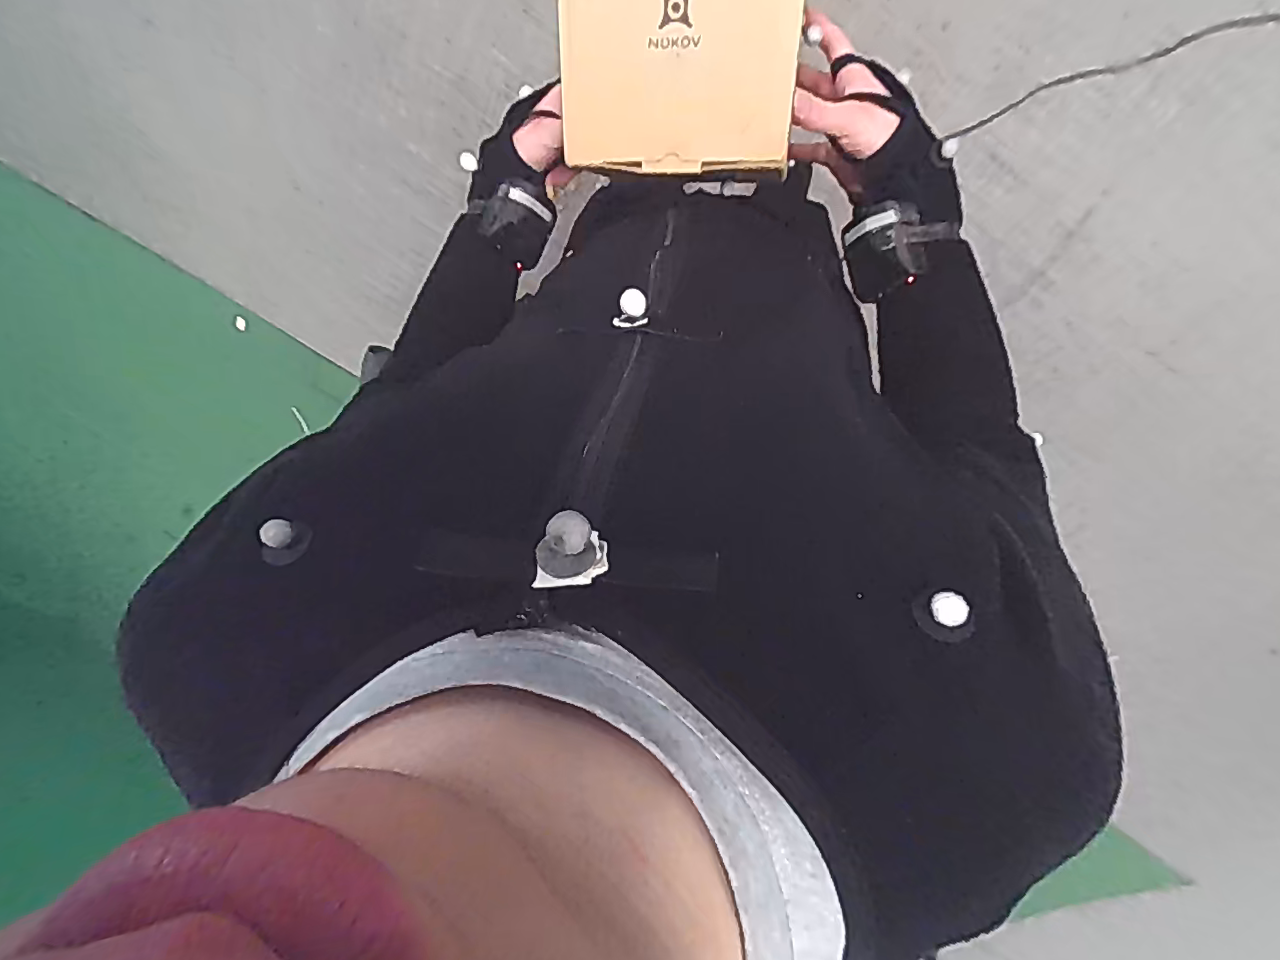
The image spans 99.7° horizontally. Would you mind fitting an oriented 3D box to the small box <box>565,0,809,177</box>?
[{"bbox_3d":[0.046,-0.347,0.432,0.168,0.176,0.179,6,115,11],"label":"small box"}]
